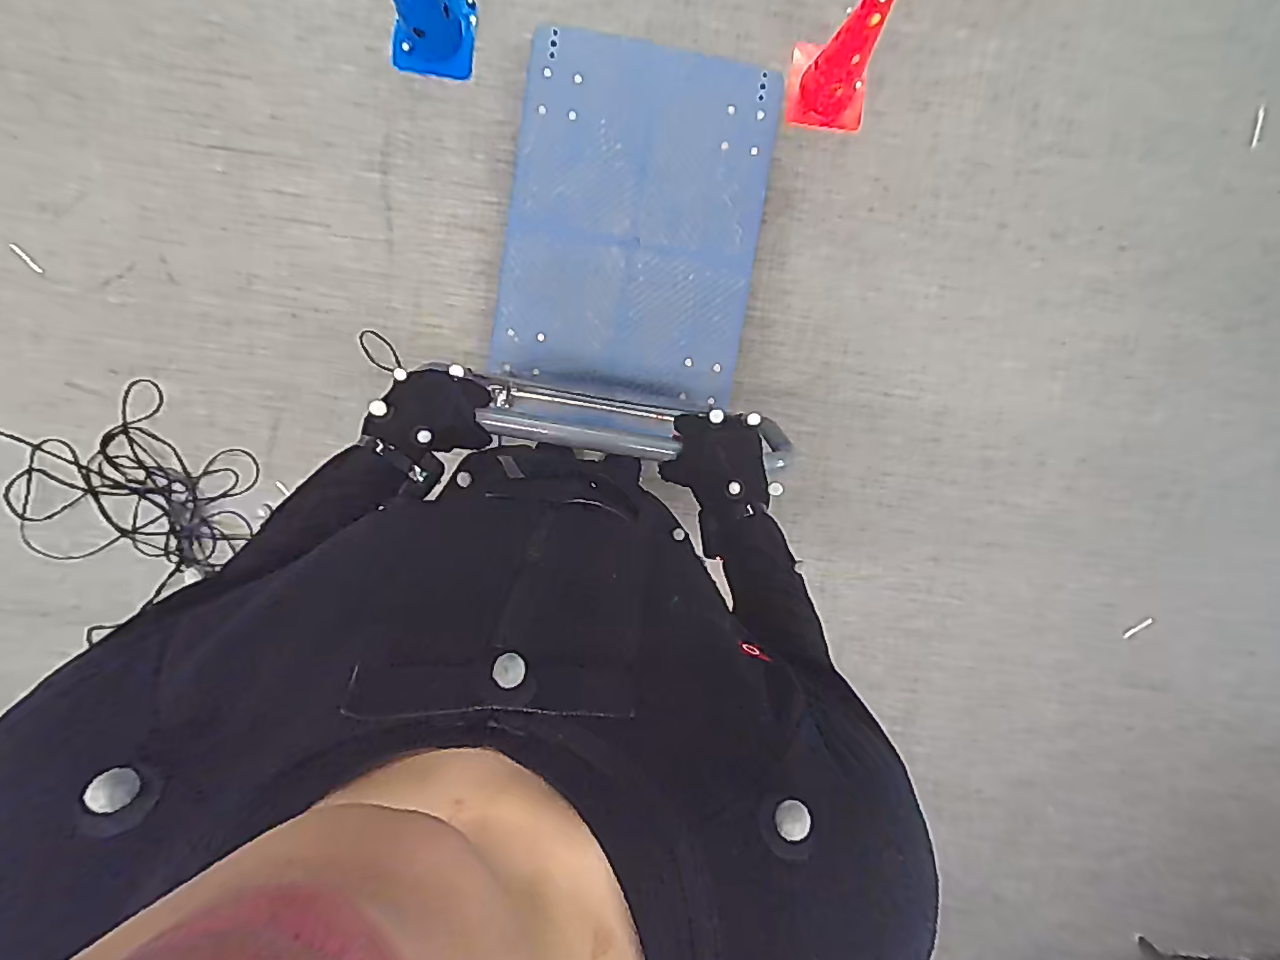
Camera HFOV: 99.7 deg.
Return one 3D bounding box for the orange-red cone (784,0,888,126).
[{"bbox_3d":[0.484,-1.018,1.239,0.199,0.360,0.198,7,95,-1],"label":"orange-red cone"}]
